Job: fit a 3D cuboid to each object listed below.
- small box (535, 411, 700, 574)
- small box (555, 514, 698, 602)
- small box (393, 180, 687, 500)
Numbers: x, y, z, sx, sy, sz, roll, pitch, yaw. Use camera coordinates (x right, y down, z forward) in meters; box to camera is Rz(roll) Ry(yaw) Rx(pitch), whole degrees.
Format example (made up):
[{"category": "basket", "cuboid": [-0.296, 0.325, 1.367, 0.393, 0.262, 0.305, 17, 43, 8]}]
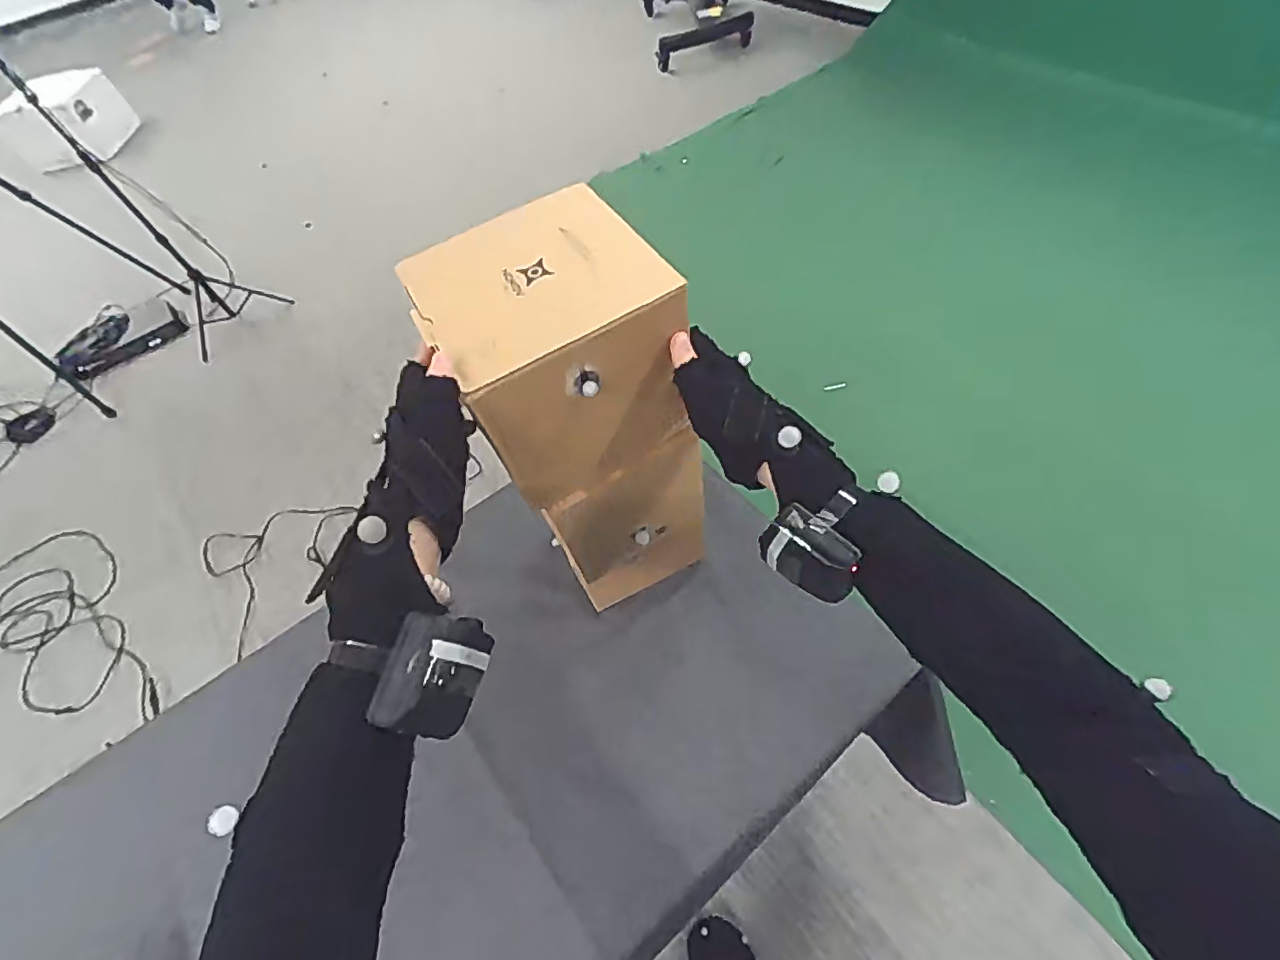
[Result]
[{"category": "small box", "cuboid": [-0.048, -0.027, 0.603, 0.168, 0.176, 0.179, -31, 60, -11]}, {"category": "small box", "cuboid": [-0.030, 0.044, 0.752, 0.179, 0.176, 0.168, -25, 58, -8]}, {"category": "small box", "cuboid": [-0.072, -0.112, 0.466, 0.179, 0.176, 0.168, -29, 60, -10]}]
